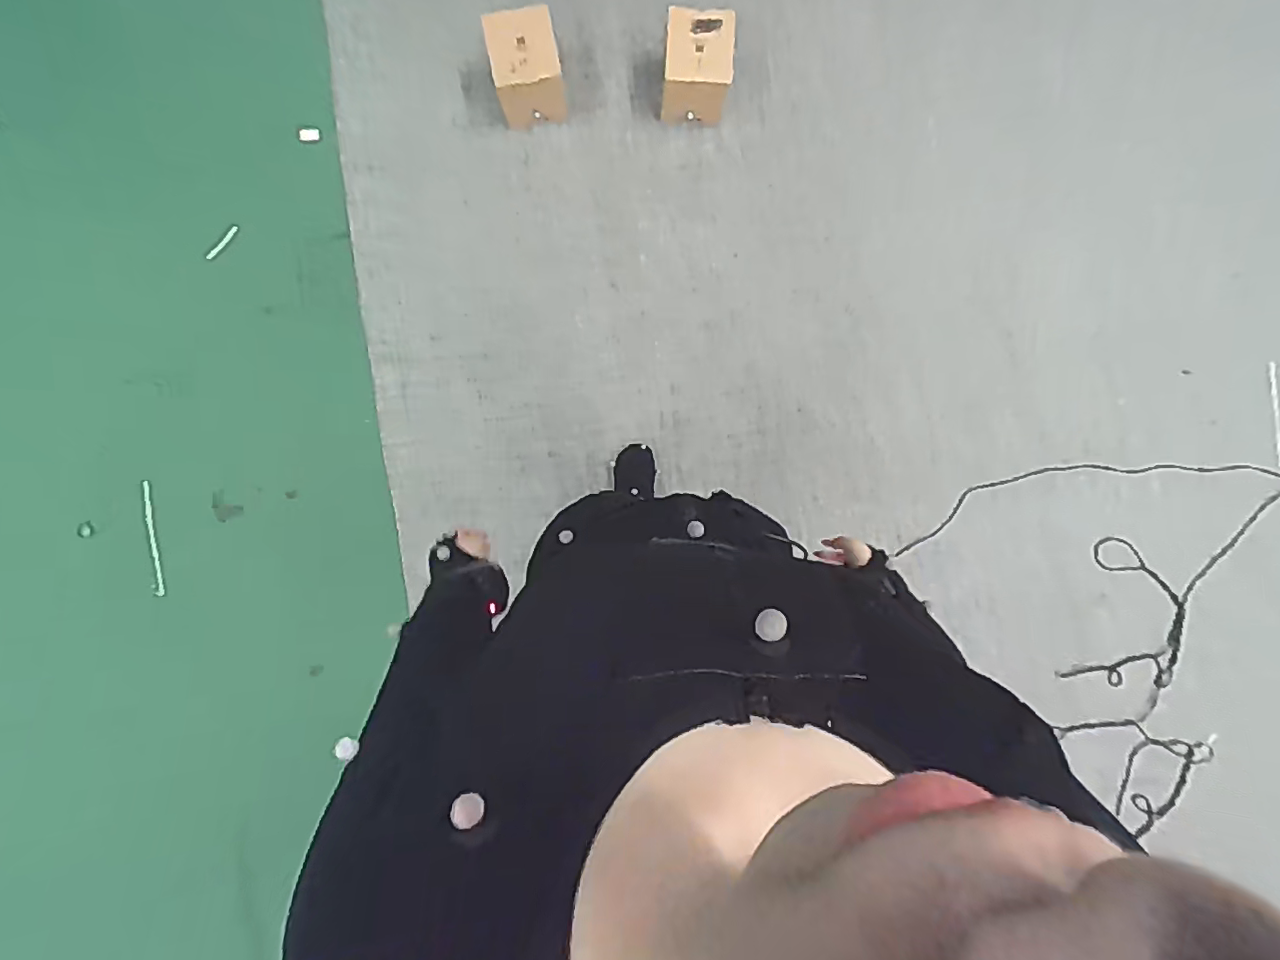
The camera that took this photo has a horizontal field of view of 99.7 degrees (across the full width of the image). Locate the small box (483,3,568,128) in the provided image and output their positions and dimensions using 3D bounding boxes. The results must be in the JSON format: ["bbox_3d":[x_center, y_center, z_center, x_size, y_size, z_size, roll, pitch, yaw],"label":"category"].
[{"bbox_3d":[-0.284,-1.039,1.367,0.168,0.176,0.179,-11,92,-1],"label":"small box"}]

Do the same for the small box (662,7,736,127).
[{"bbox_3d":[0.144,-1.046,1.379,0.168,0.176,0.179,3,92,-1],"label":"small box"}]
